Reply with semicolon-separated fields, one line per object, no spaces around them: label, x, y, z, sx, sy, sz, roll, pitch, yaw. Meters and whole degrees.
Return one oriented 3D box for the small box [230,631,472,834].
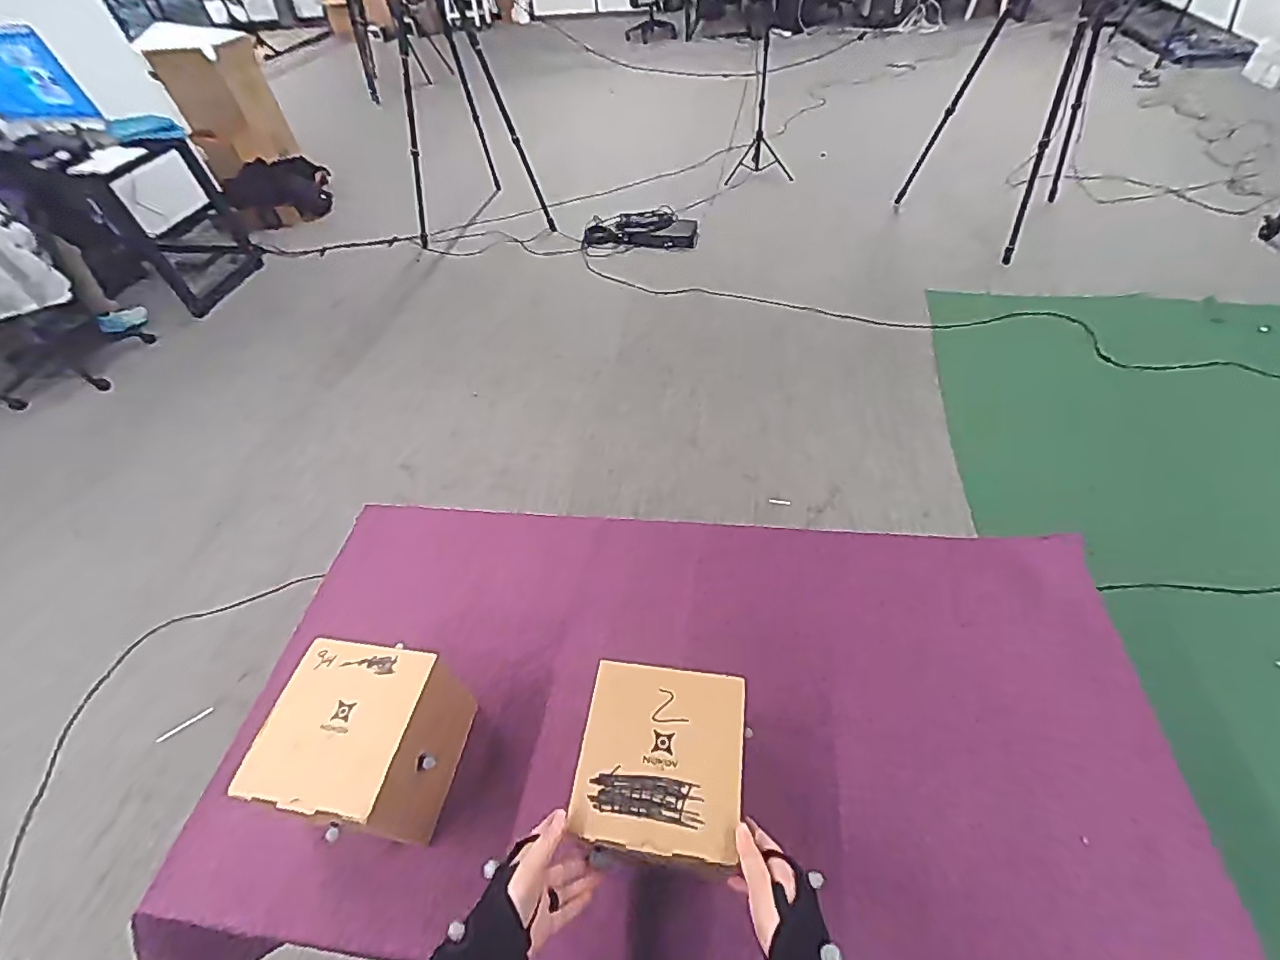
small box;-0.328;0.311;0.661;0.168;0.176;0.179;6;51;9
